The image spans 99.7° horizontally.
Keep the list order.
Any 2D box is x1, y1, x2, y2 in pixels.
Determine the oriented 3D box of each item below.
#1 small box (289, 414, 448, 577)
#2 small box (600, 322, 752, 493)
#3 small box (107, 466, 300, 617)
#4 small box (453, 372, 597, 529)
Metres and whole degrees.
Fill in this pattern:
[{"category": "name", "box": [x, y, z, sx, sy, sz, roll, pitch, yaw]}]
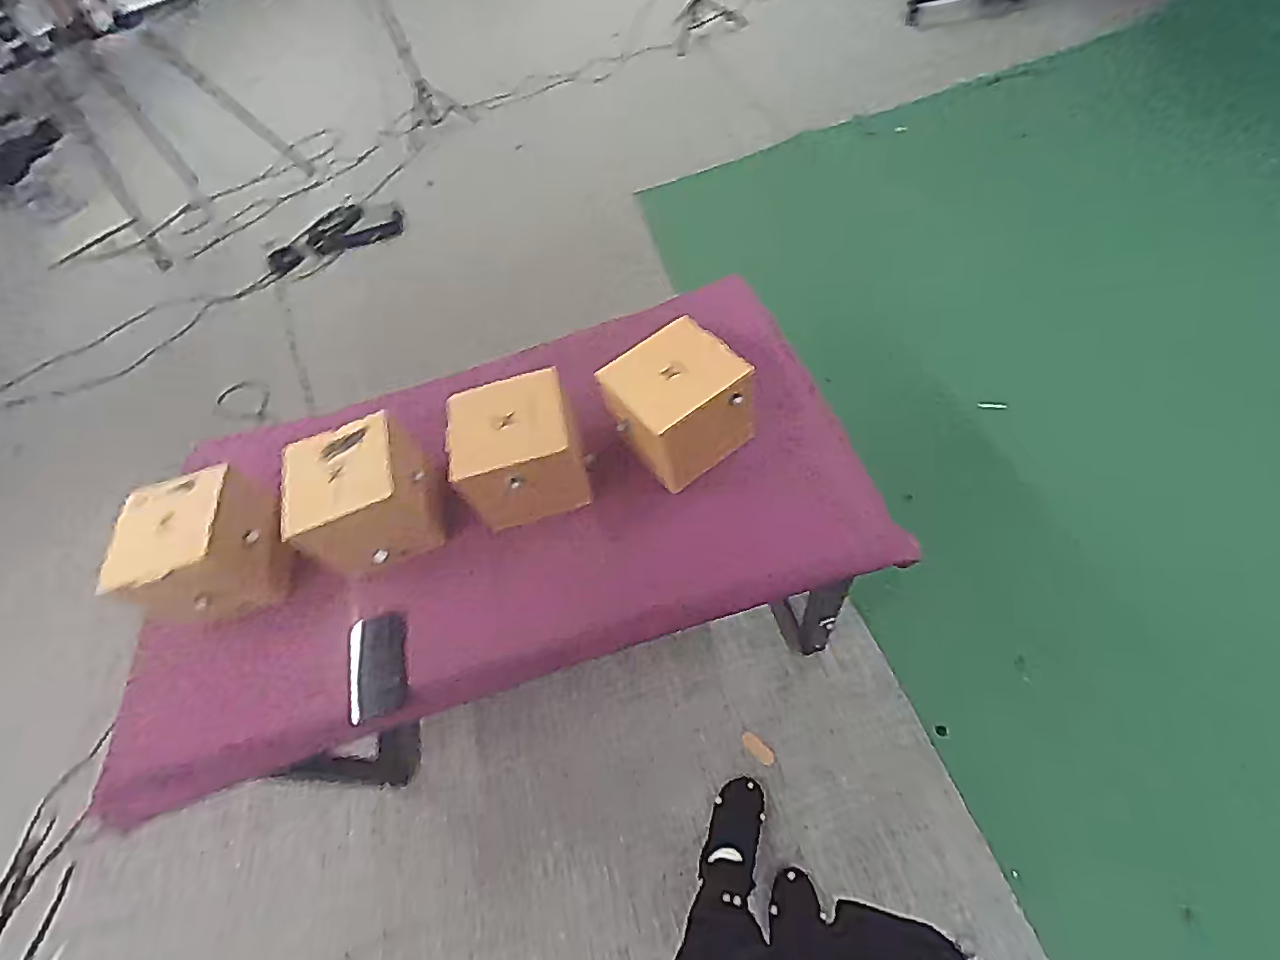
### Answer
[{"category": "small box", "box": [-0.432, 0.029, 0.880, 0.168, 0.176, 0.179, -21, 57, -2]}, {"category": "small box", "box": [0.066, -0.111, 0.867, 0.179, 0.176, 0.168, -35, 57, -11]}, {"category": "small box", "box": [-0.688, 0.110, 0.881, 0.168, 0.176, 0.179, -17, 57, 1]}, {"category": "small box", "box": [-0.182, -0.040, 0.874, 0.179, 0.176, 0.168, -14, 57, 2]}]
